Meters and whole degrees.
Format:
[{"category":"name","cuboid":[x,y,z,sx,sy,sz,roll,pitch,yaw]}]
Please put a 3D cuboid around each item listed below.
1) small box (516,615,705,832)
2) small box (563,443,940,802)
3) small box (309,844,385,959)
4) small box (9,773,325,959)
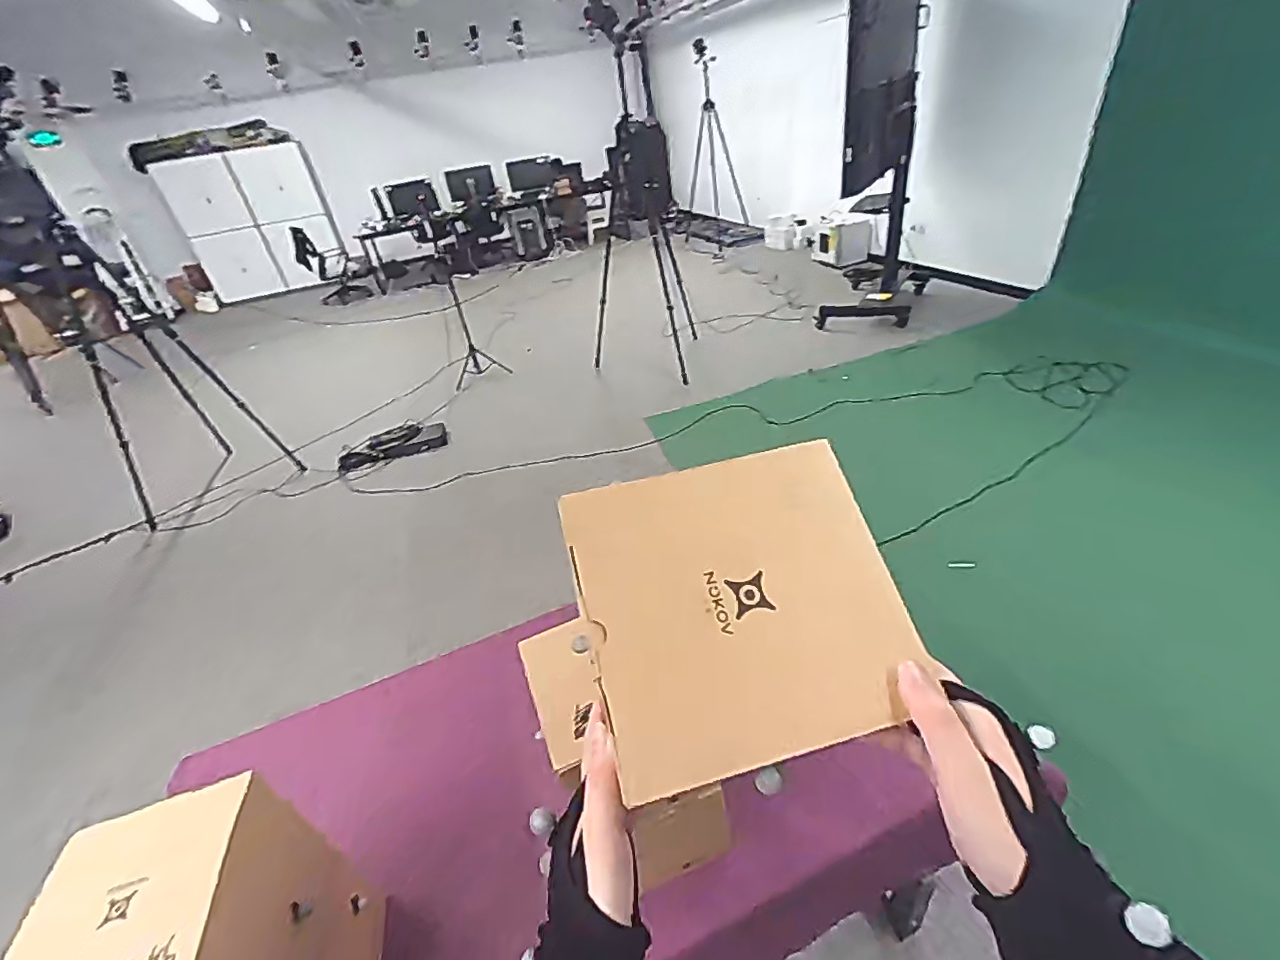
[{"category":"small box","cuboid":[-0.029,0.274,0.637,0.168,0.176,0.179,-20,34,-14]},{"category":"small box","cuboid":[0.053,0.098,0.374,0.179,0.176,0.168,-13,67,-7]},{"category":"small box","cuboid":[-0.407,0.566,0.610,0.168,0.176,0.179,-17,35,-9]},{"category":"small box","cuboid":[-0.433,0.431,0.517,0.168,0.176,0.179,-18,34,-9]}]
